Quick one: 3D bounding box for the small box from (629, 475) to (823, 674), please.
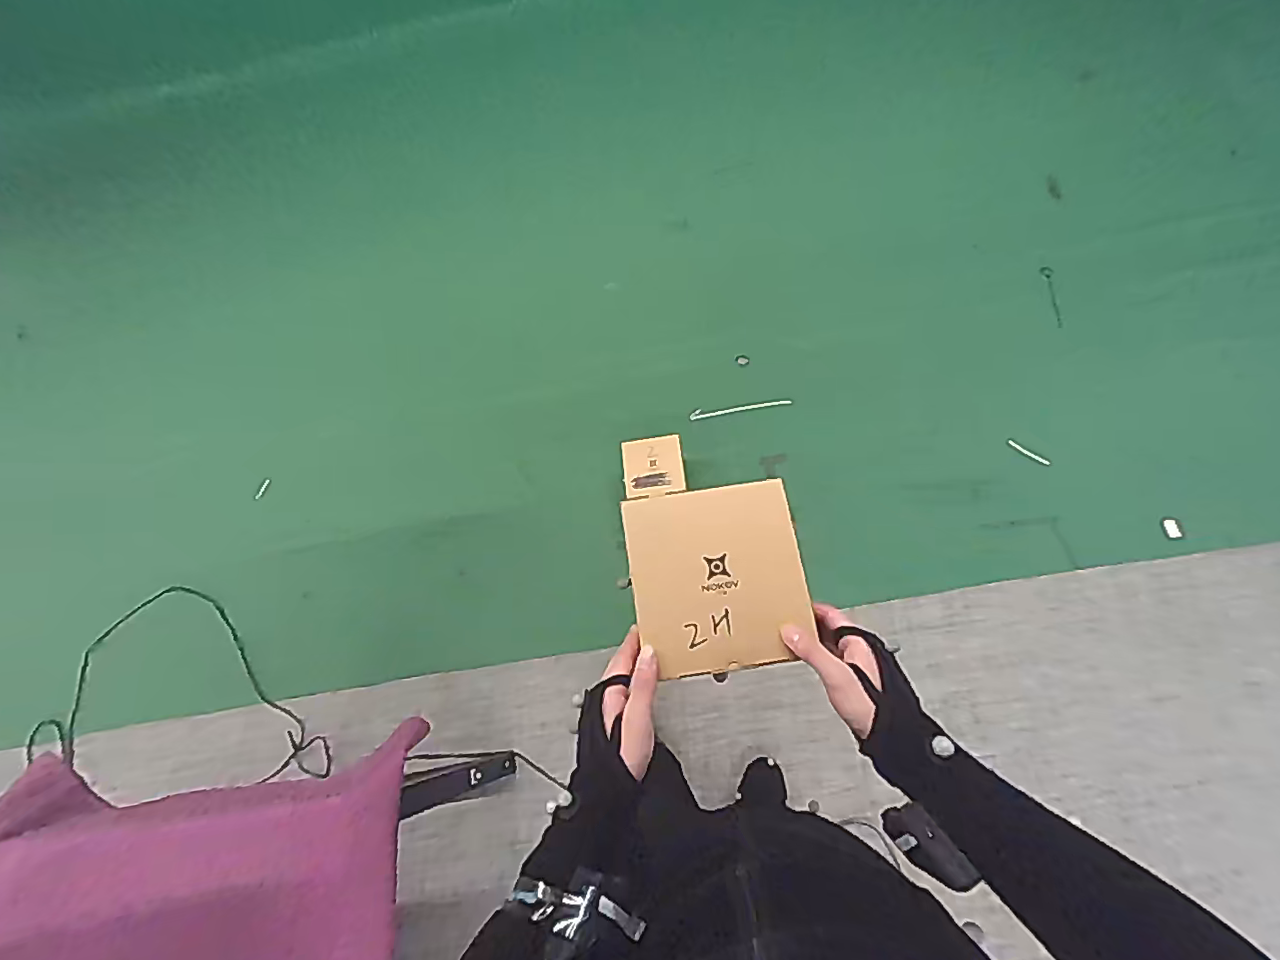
[{"bbox_3d":[0.077,0.108,0.591,0.168,0.176,0.179,-7,75,-1],"label":"small box"}]
